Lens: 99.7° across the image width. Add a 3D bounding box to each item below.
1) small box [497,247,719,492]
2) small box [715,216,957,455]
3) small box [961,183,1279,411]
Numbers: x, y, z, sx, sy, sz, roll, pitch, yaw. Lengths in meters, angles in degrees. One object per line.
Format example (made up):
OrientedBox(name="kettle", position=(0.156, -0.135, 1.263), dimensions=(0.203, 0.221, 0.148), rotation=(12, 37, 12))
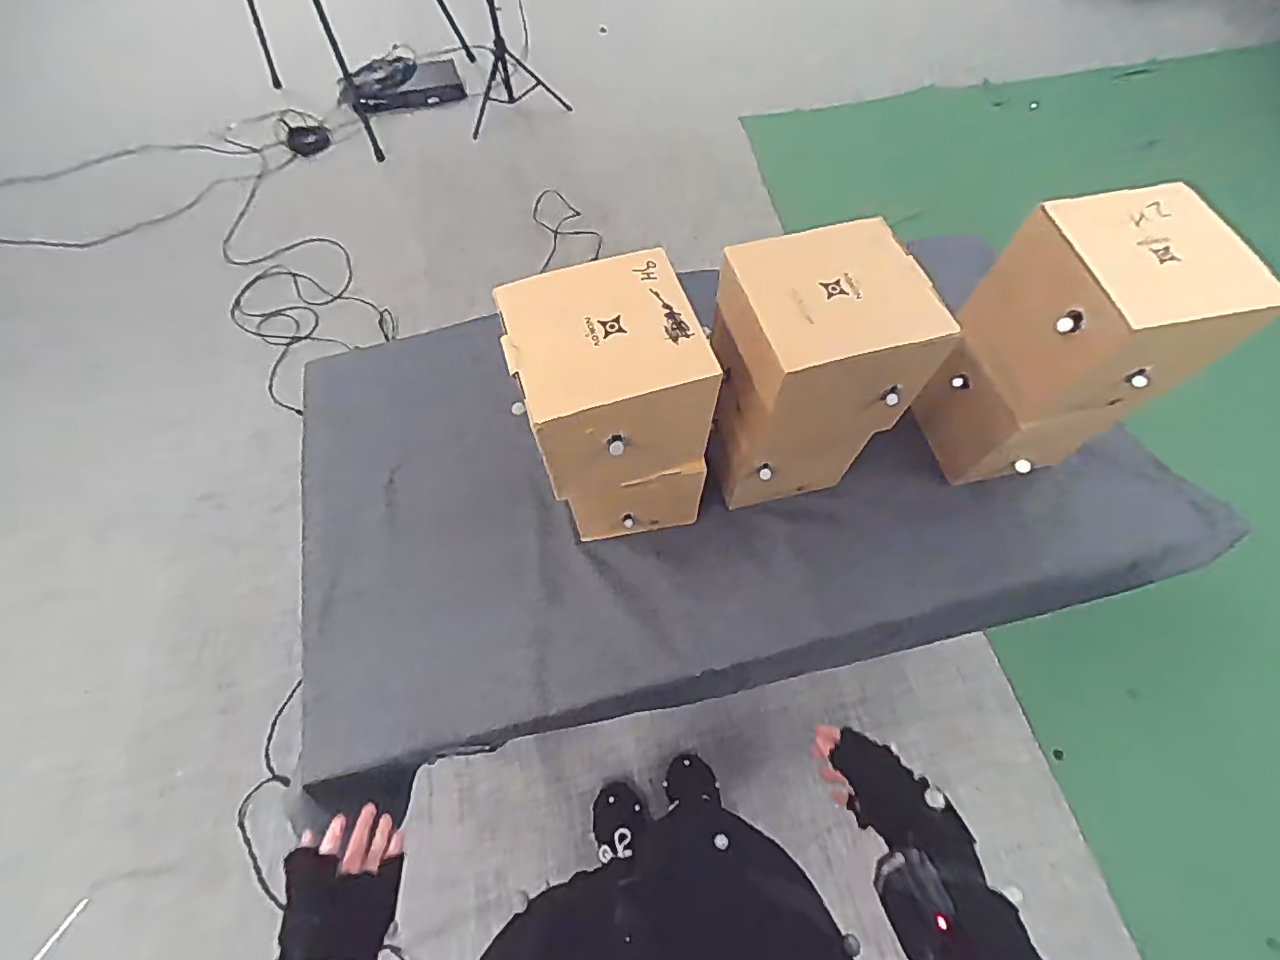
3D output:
OrientedBox(name="small box", position=(-0.031, -0.107, 0.575), dimensions=(0.179, 0.176, 0.168), rotation=(-17, 66, -7))
OrientedBox(name="small box", position=(0.191, -0.149, 0.592), dimensions=(0.179, 0.176, 0.168), rotation=(-14, 64, -5))
OrientedBox(name="small box", position=(0.509, -0.192, 0.607), dimensions=(0.168, 0.176, 0.179), rotation=(-10, 64, -4))
